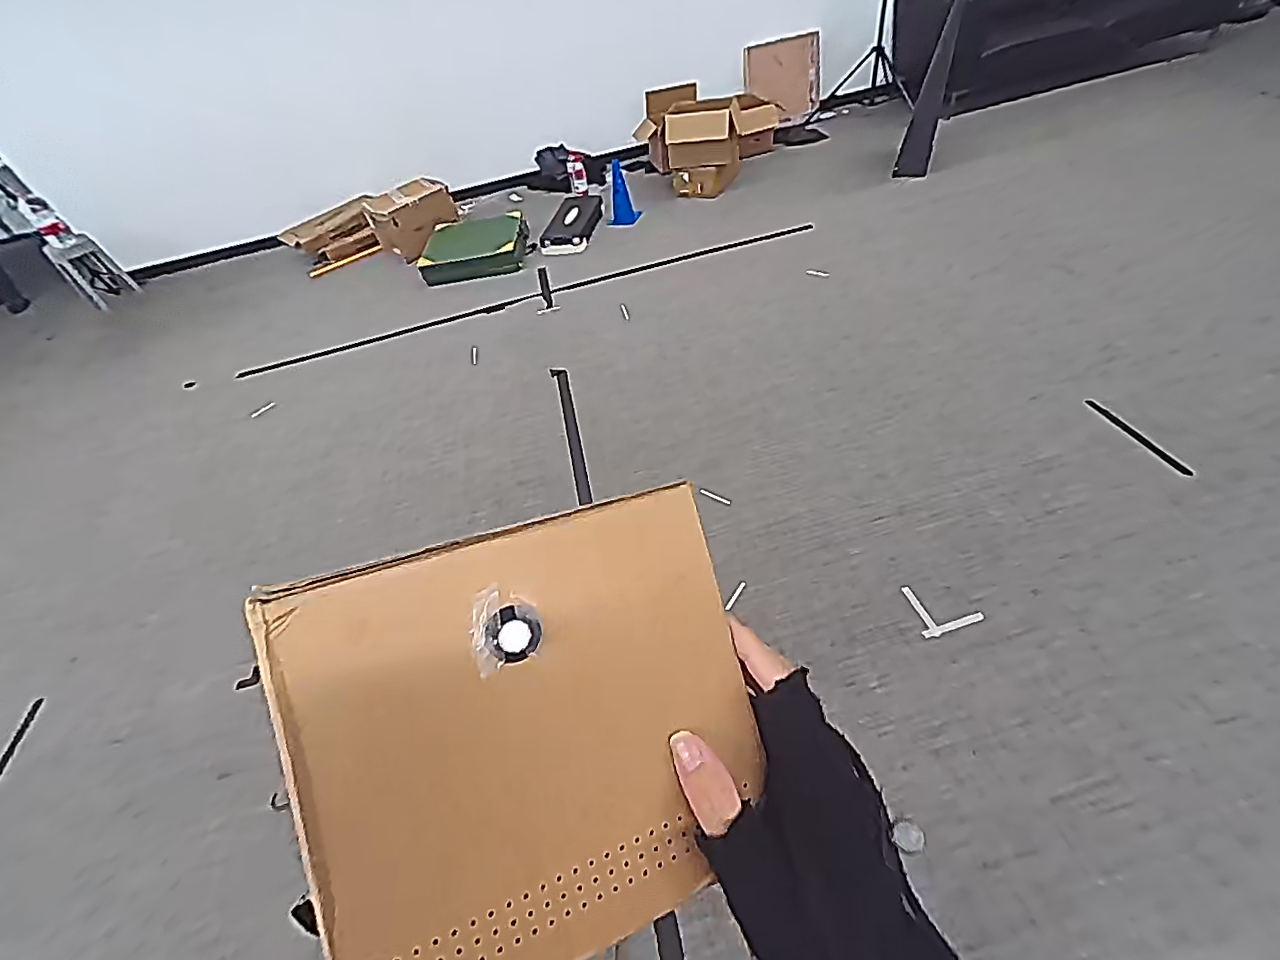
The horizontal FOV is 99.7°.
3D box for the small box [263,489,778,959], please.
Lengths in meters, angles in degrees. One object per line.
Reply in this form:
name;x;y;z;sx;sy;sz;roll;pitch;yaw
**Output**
small box;-0.057;0.115;0.286;0.179;0.168;0.176;-14;87;-21
